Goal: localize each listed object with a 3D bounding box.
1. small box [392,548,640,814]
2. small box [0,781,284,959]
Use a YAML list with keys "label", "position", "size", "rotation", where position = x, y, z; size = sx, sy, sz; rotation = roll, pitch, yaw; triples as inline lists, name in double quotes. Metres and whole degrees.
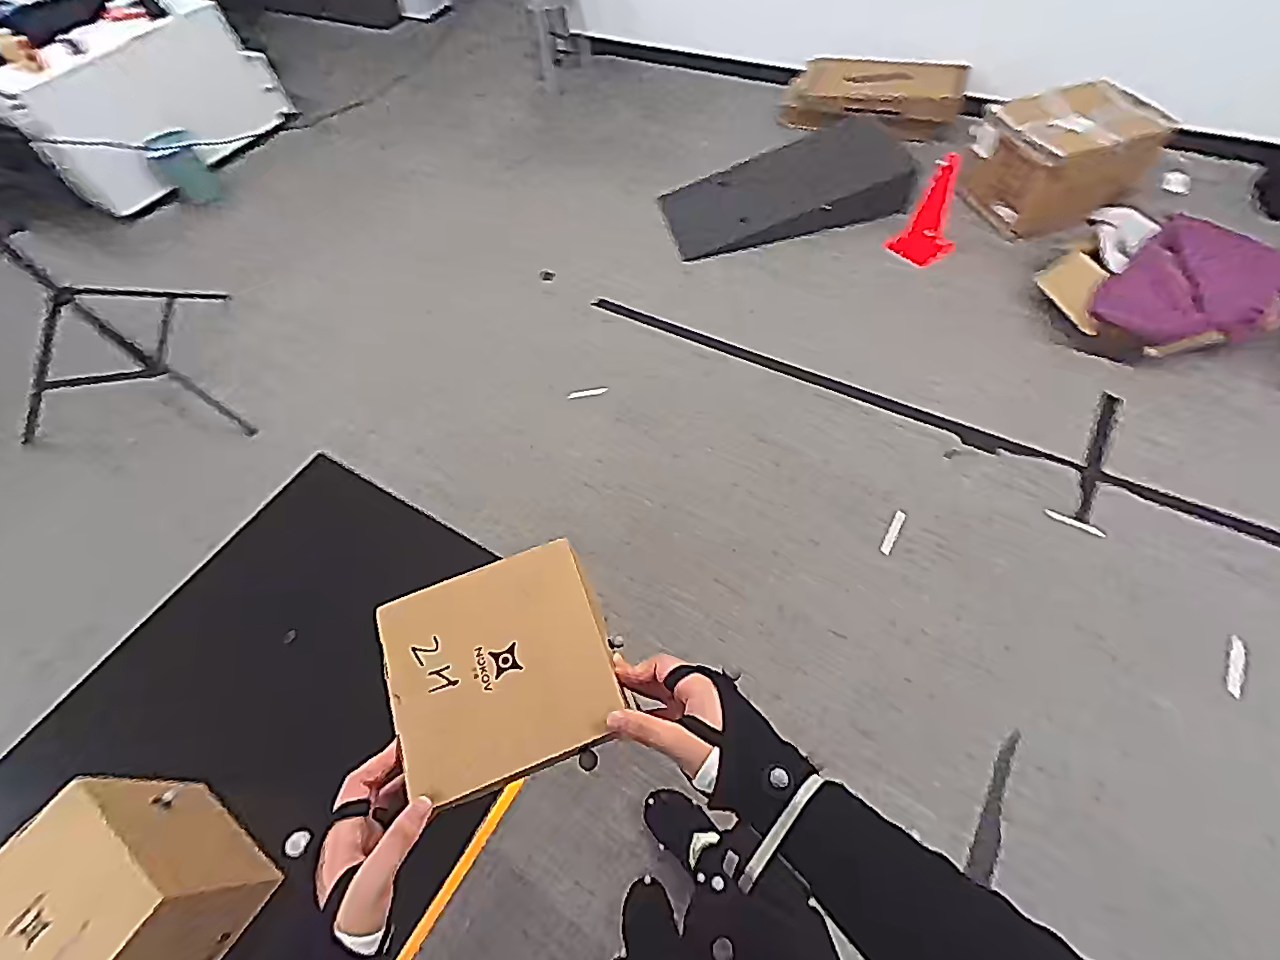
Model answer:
- label: "small box"
  position: [-0.105, 0.189, 0.517]
  size: [0.179, 0.176, 0.168]
  rotation: [-19, 65, -6]
- label: "small box"
  position: [-0.525, 0.442, 0.553]
  size: [0.179, 0.176, 0.168]
  rotation: [26, 65, 20]
